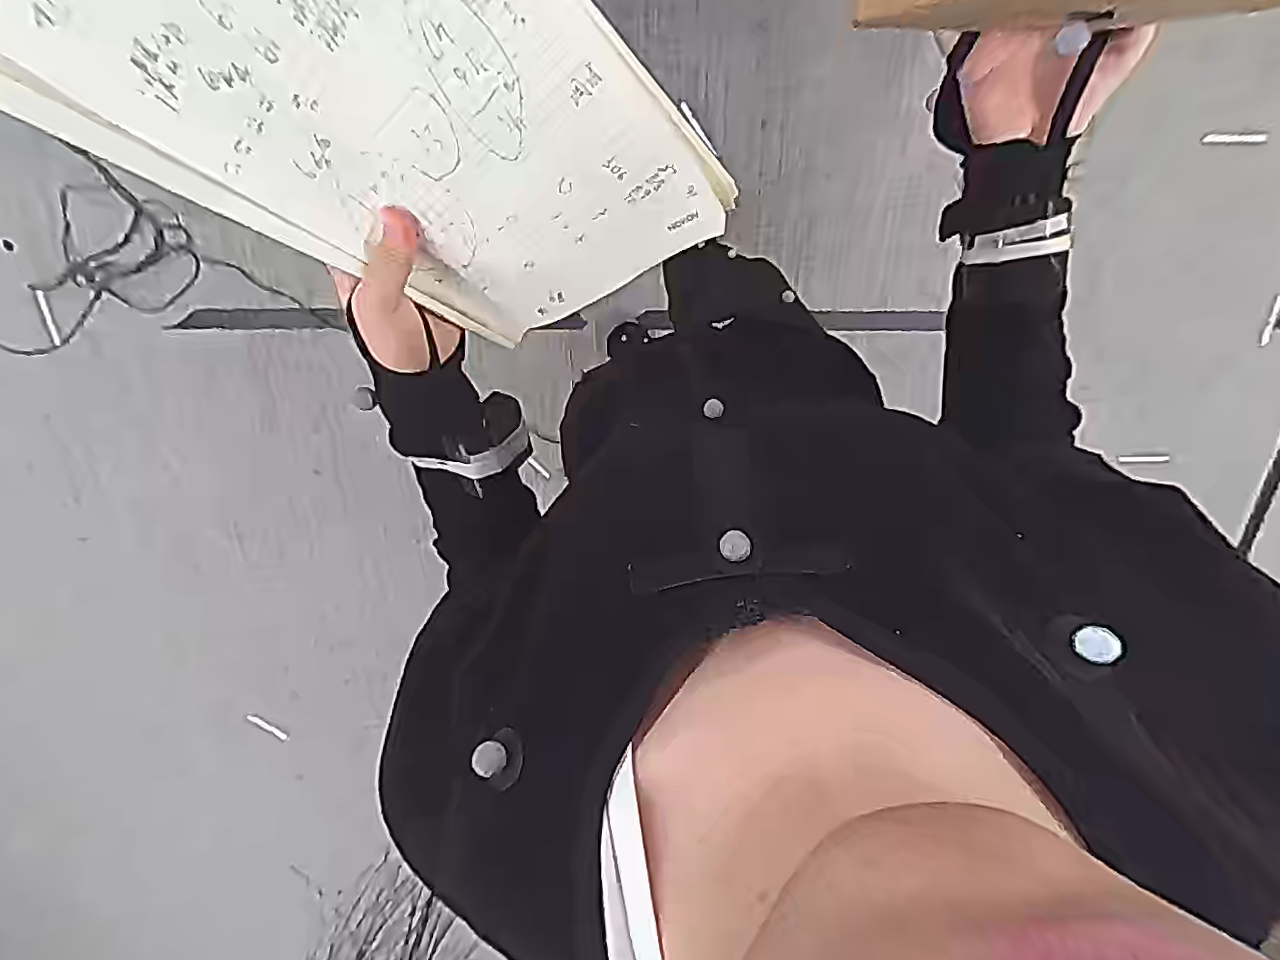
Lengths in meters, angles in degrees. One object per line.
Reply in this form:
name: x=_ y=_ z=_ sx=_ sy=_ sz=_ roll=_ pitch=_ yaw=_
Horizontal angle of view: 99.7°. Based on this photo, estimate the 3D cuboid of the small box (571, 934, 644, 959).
small box: x=-0.072 y=1.162 z=1.206 sx=0.168 sy=0.176 sz=0.179 roll=-2 pitch=111 yaw=-2

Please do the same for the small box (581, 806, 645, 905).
small box: x=-0.074 y=1.041 z=1.513 sx=0.168 sy=0.176 sz=0.179 roll=-4 pitch=112 yaw=0

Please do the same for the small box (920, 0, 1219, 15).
small box: x=0.220 y=-0.296 z=0.202 sx=0.168 sy=0.176 sz=0.179 roll=-6 pitch=126 yaw=-9
